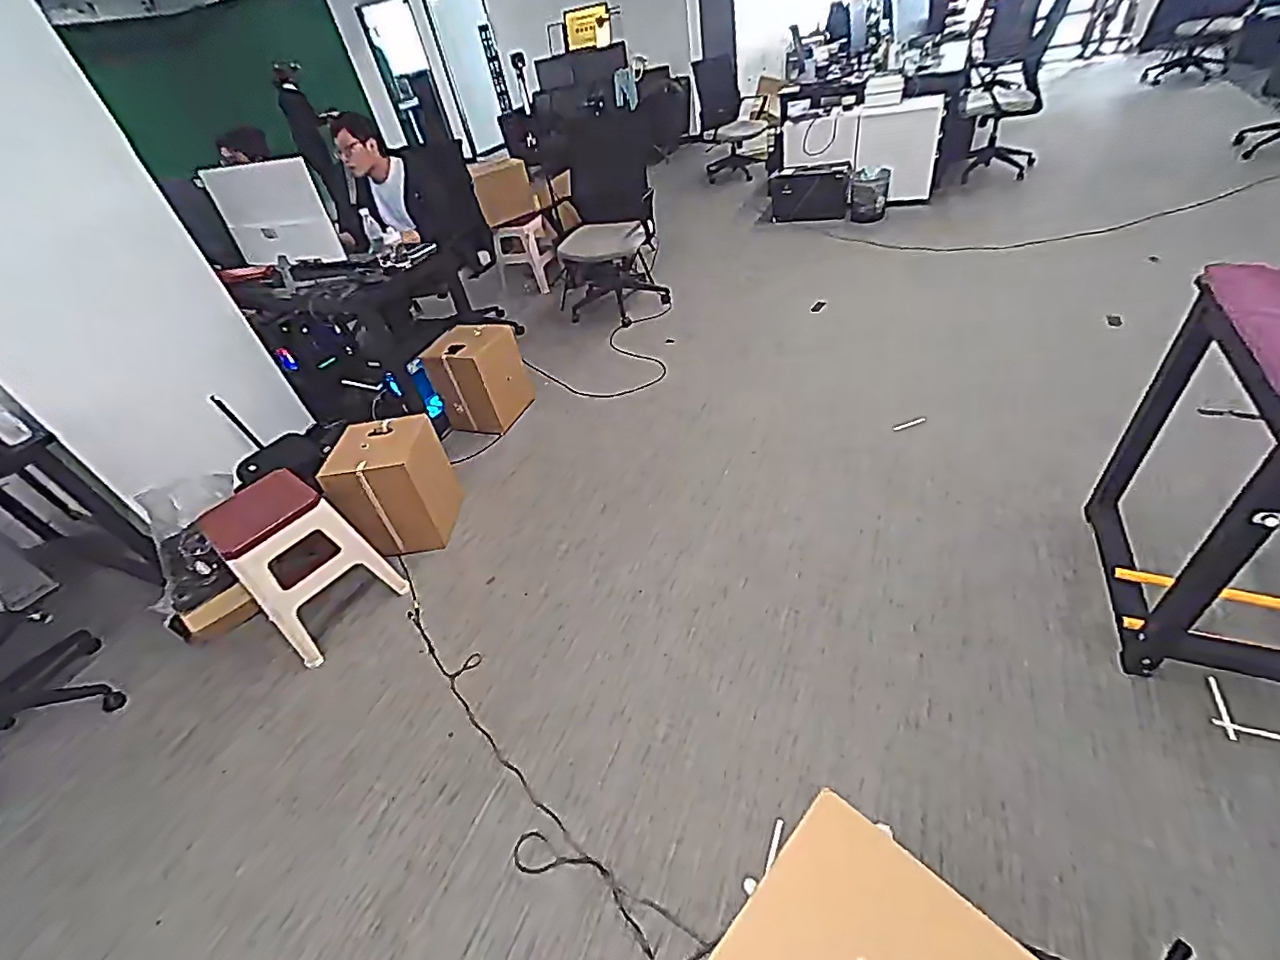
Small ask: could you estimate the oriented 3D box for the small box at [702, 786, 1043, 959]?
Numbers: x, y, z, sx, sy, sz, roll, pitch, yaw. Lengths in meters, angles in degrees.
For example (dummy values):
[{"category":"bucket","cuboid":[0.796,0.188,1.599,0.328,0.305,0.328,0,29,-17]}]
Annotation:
[{"category":"small box","cuboid":[0.149,0.353,0.356,0.168,0.176,0.179,-40,51,-24]}]
